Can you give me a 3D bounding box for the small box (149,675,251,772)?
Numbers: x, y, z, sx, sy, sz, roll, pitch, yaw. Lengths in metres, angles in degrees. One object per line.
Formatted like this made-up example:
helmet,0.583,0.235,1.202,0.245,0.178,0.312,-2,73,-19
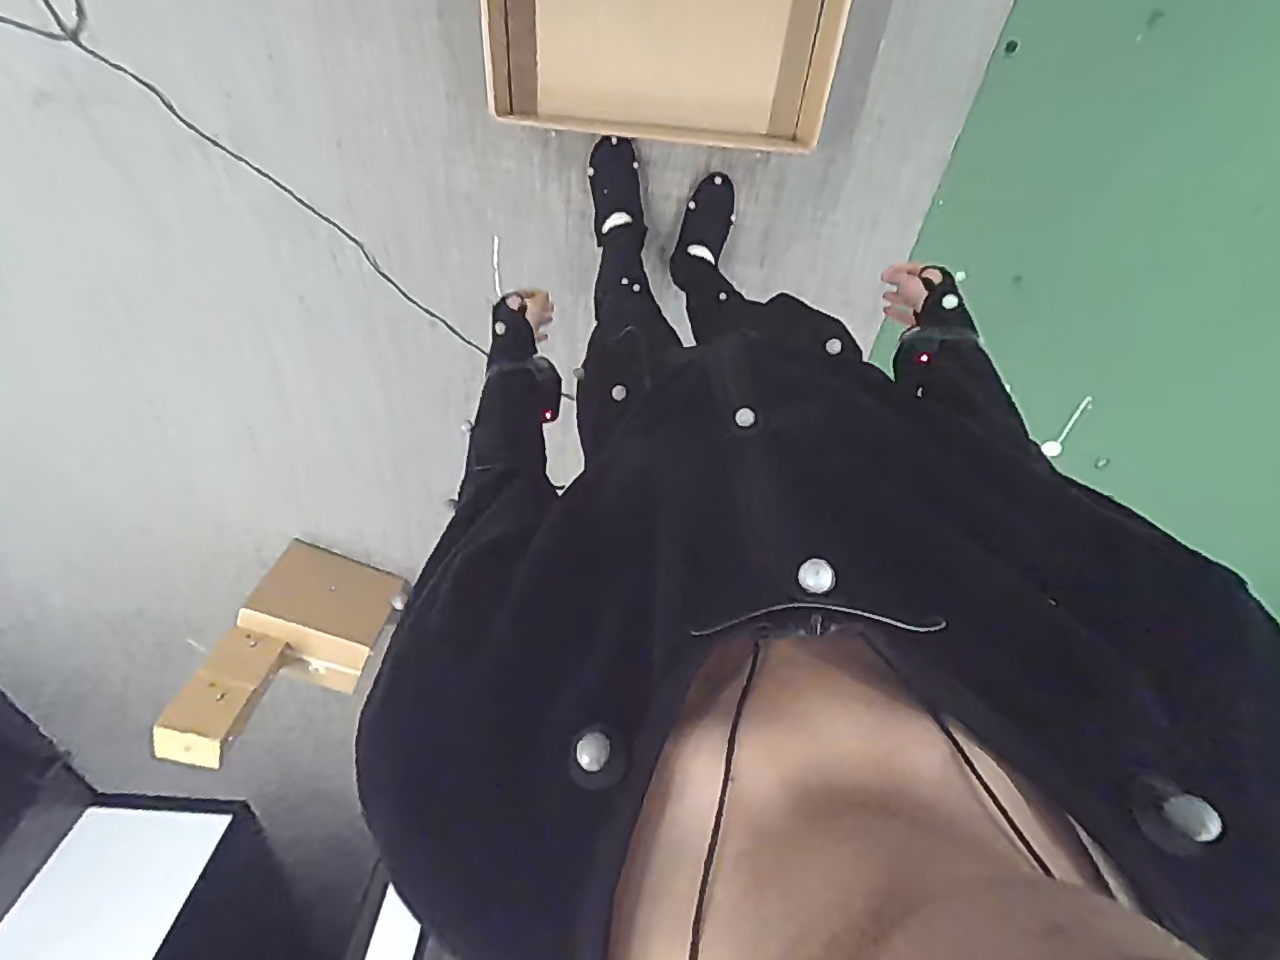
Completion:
small box,-1.245,0.692,1.540,0.168,0.176,0.179,22,123,-14
